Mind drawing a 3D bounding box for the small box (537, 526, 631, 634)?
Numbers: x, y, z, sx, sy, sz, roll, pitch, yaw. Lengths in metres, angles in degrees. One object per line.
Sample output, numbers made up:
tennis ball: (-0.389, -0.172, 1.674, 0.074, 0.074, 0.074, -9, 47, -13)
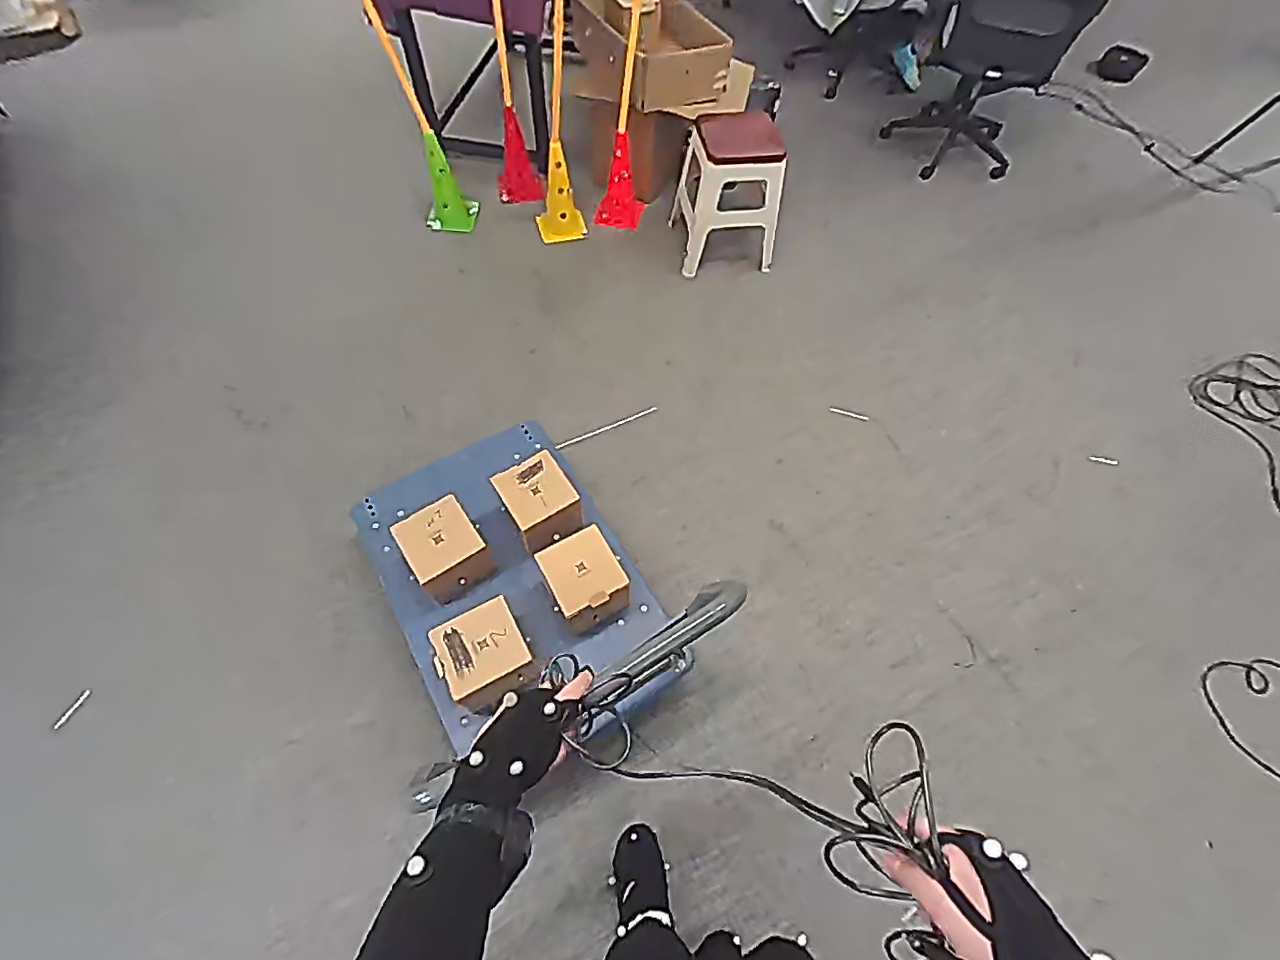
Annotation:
small box: (-0.136, 0.249, 1.323, 0.168, 0.176, 0.179, -27, 66, -16)

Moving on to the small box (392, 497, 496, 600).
small box: (-0.479, 0.179, 1.347, 0.168, 0.176, 0.179, -31, 66, -19)

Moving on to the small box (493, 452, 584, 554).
small box: (-0.262, 0.064, 1.420, 0.168, 0.176, 0.179, -30, 67, -17)
